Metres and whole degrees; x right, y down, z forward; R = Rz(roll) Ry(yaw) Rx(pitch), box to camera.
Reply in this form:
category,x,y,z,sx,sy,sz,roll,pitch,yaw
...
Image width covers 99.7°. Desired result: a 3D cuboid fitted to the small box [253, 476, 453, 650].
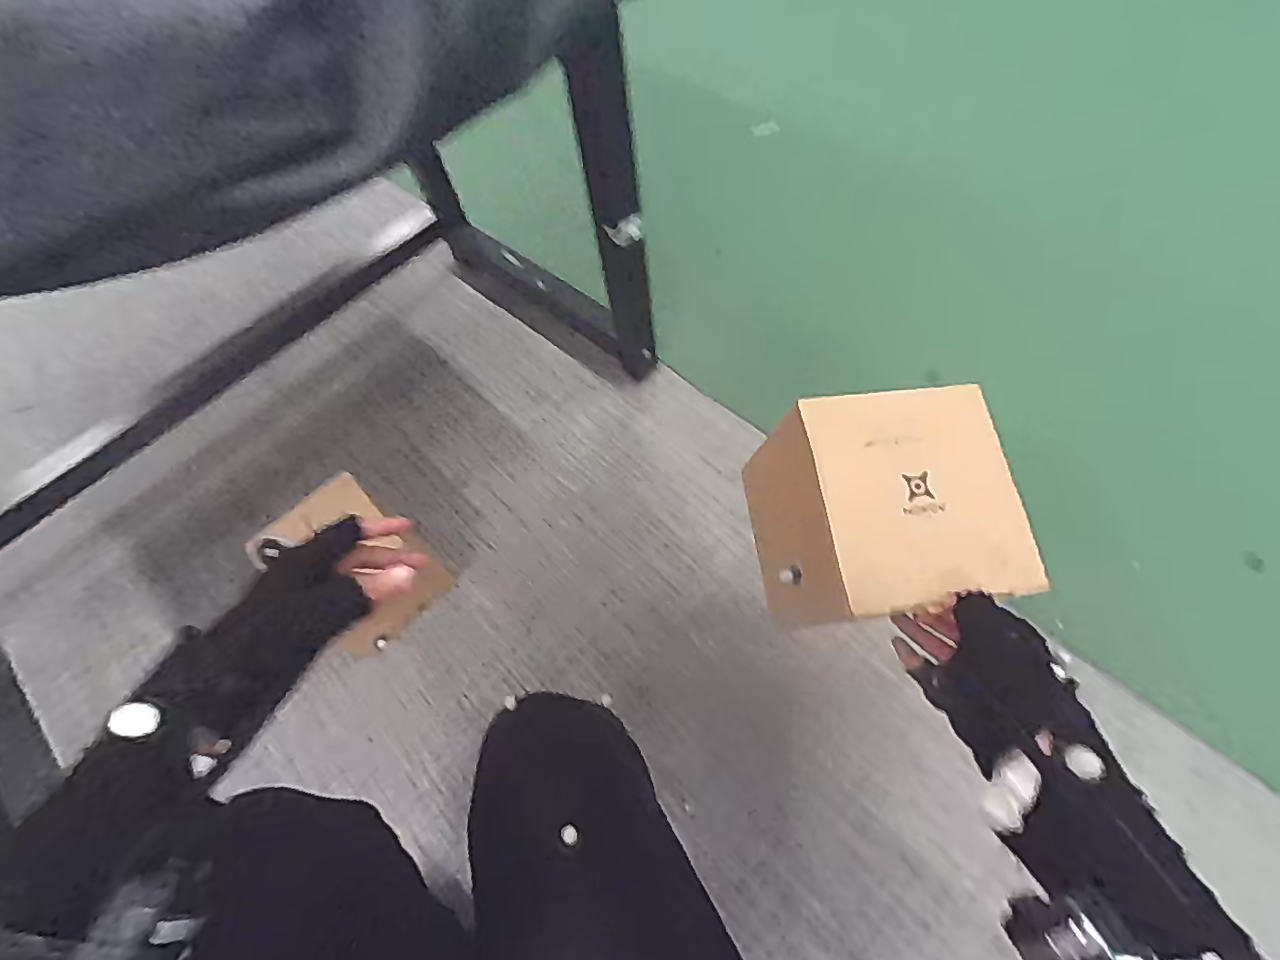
category,x,y,z,sx,sy,sz,roll,pitch,yaw
small box,-0.414,0.132,0.806,0.168,0.176,0.179,-42,64,-15
